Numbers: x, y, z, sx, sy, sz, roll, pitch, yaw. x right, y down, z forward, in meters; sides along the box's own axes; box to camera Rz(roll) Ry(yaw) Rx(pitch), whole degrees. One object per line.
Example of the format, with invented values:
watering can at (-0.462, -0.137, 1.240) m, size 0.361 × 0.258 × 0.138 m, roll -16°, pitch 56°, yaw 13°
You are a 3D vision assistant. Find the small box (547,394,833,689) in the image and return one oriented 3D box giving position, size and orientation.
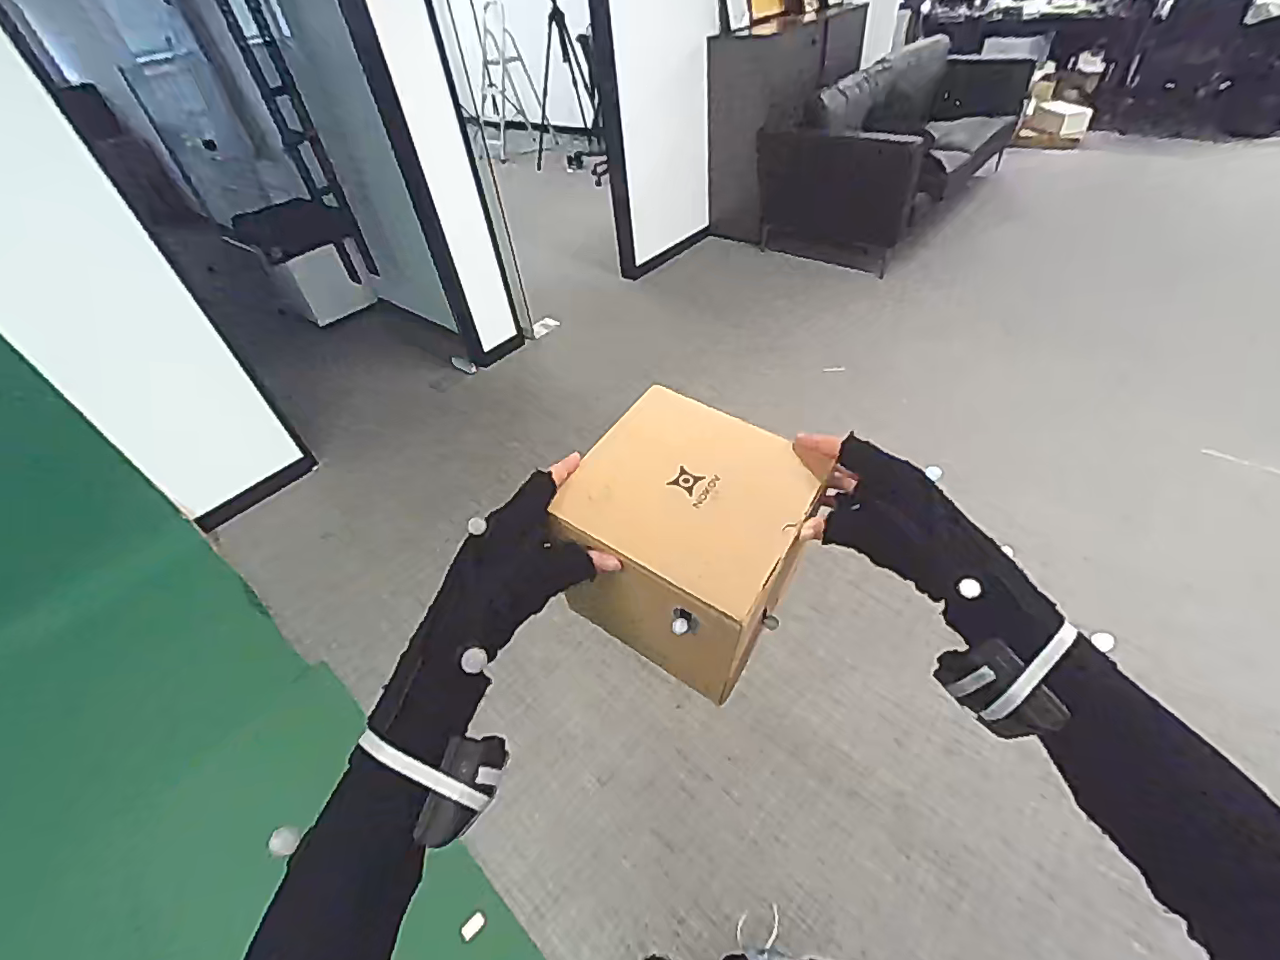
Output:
small box at (0.042, 0.058, 0.490) m, size 0.179 × 0.176 × 0.168 m, roll 28°, pitch 57°, yaw 22°
